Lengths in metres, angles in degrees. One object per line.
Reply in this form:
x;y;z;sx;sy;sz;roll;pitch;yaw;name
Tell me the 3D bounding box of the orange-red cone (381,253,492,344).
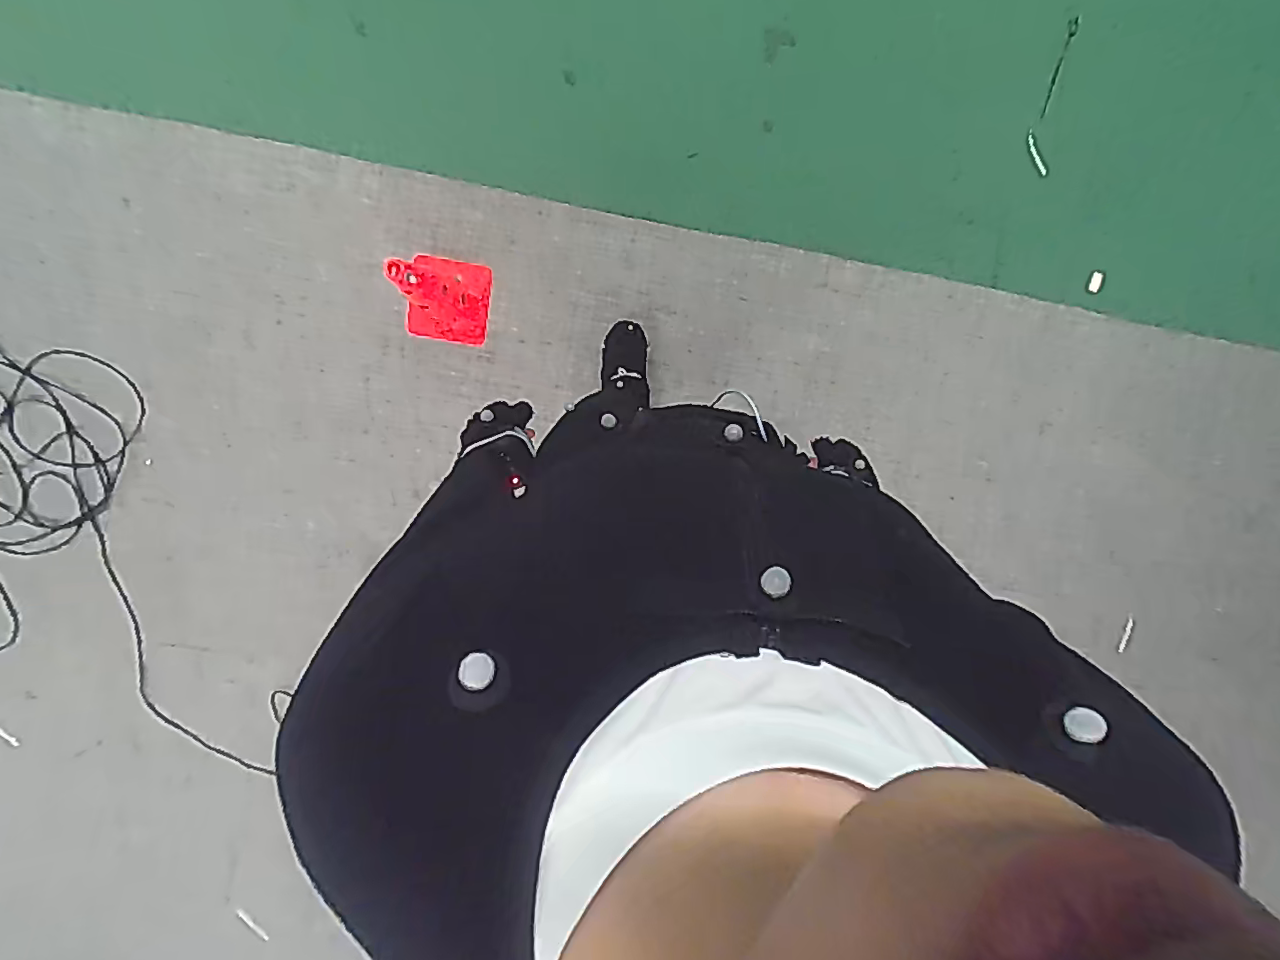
-0.476;-0.427;1.196;0.198;0.360;0.199;10;100;-3;orange-red cone
